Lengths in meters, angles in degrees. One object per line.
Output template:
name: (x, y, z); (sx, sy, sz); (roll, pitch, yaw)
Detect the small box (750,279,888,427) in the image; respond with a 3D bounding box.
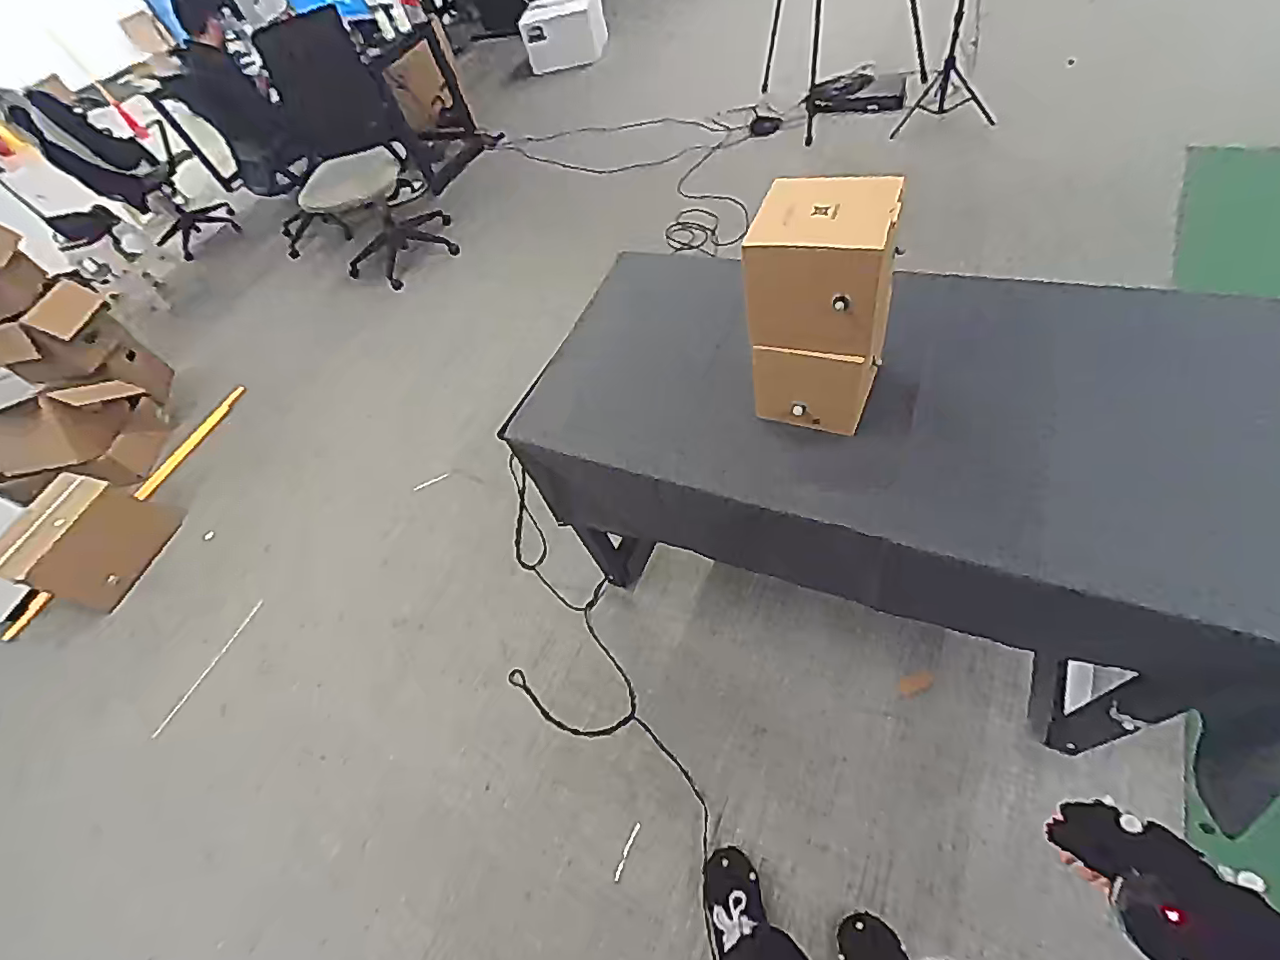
small box: (0.291, -0.217, 0.889); (0.168, 0.176, 0.179); (16, 62, 25)

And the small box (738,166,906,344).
small box: (0.252, -0.313, 0.762); (0.179, 0.176, 0.168); (14, 60, 24)
